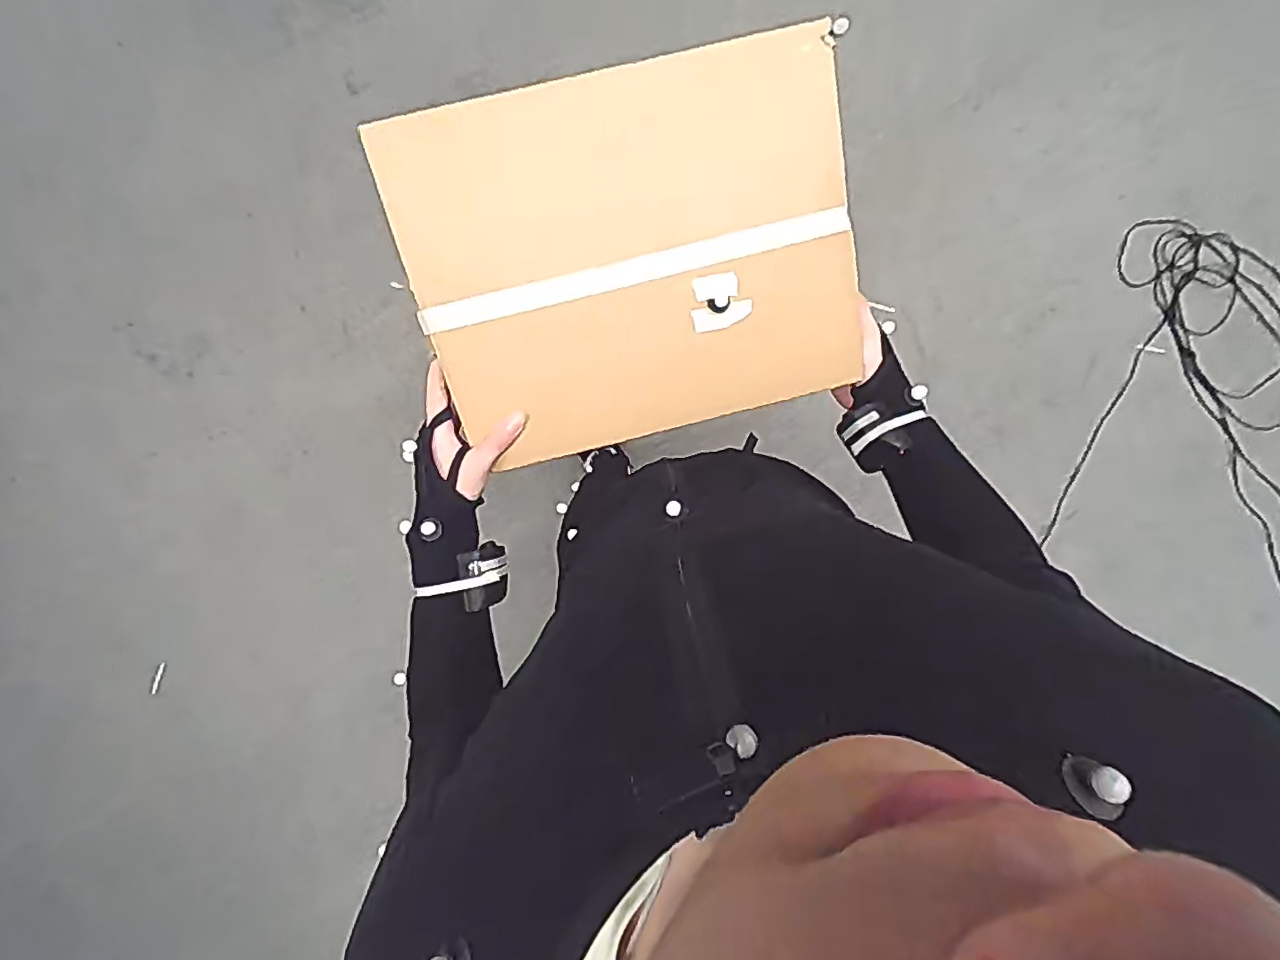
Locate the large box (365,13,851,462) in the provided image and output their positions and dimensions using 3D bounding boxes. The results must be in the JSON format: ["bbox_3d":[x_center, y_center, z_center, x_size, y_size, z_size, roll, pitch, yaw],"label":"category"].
[{"bbox_3d":[-0.025,-0.253,0.645,0.408,0.320,0.320,-15,110,-2],"label":"large box"}]
